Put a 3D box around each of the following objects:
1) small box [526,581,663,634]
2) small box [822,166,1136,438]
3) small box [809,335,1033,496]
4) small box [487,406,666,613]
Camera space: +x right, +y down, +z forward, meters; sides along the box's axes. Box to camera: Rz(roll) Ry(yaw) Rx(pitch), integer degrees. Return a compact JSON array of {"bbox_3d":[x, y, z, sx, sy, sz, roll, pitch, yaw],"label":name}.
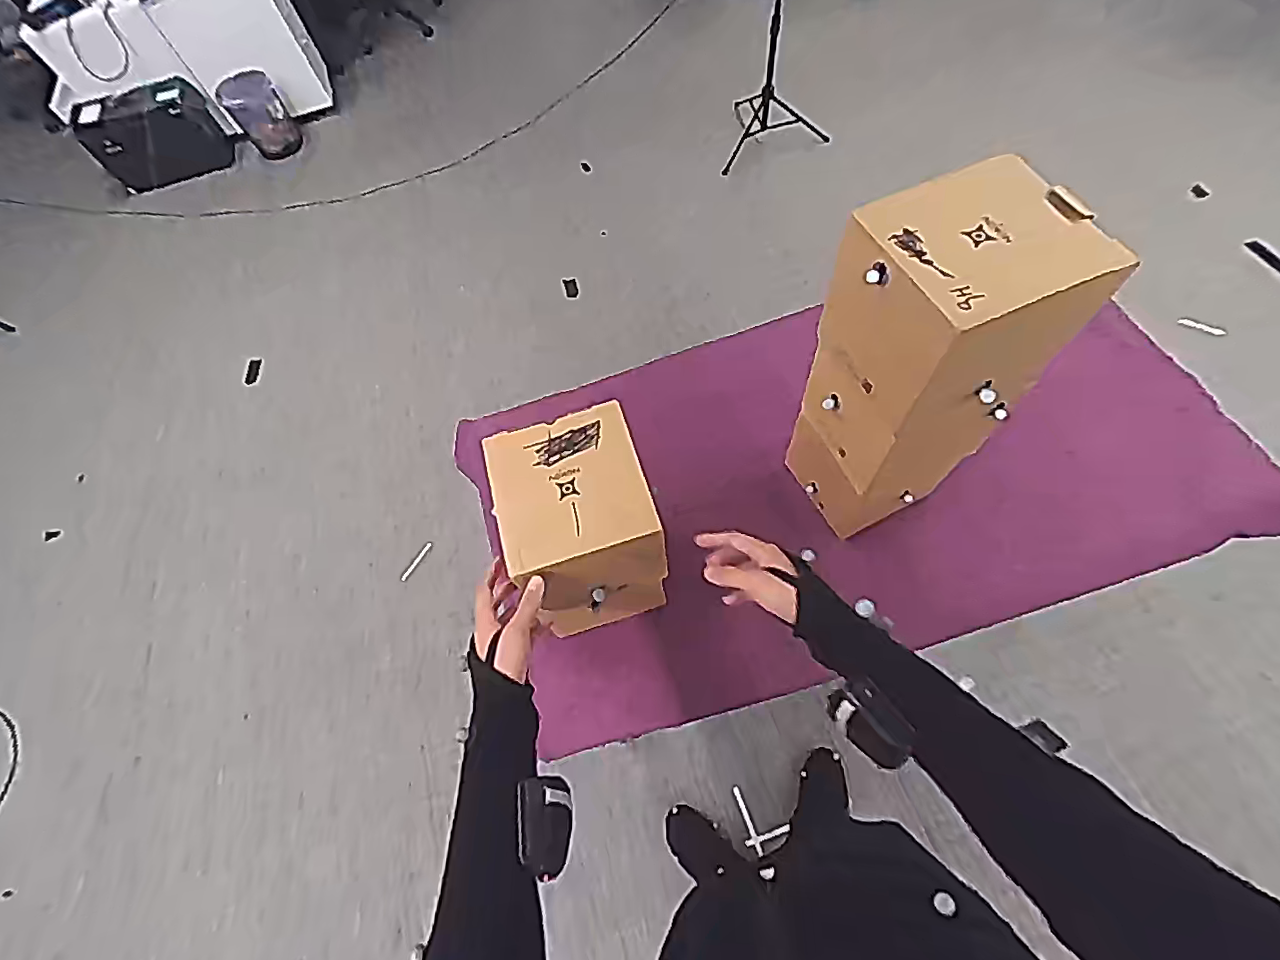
[{"bbox_3d":[-0.071,0.117,0.807,0.179,0.176,0.168,-16,63,-3],"label":"small box"},{"bbox_3d":[0.312,-0.171,0.547,0.179,0.176,0.168,-21,62,-5],"label":"small box"},{"bbox_3d":[0.335,-0.102,0.695,0.179,0.176,0.168,-21,63,-5],"label":"small box"},{"bbox_3d":[-0.071,0.043,0.660,0.168,0.176,0.179,-17,64,-3],"label":"small box"}]
